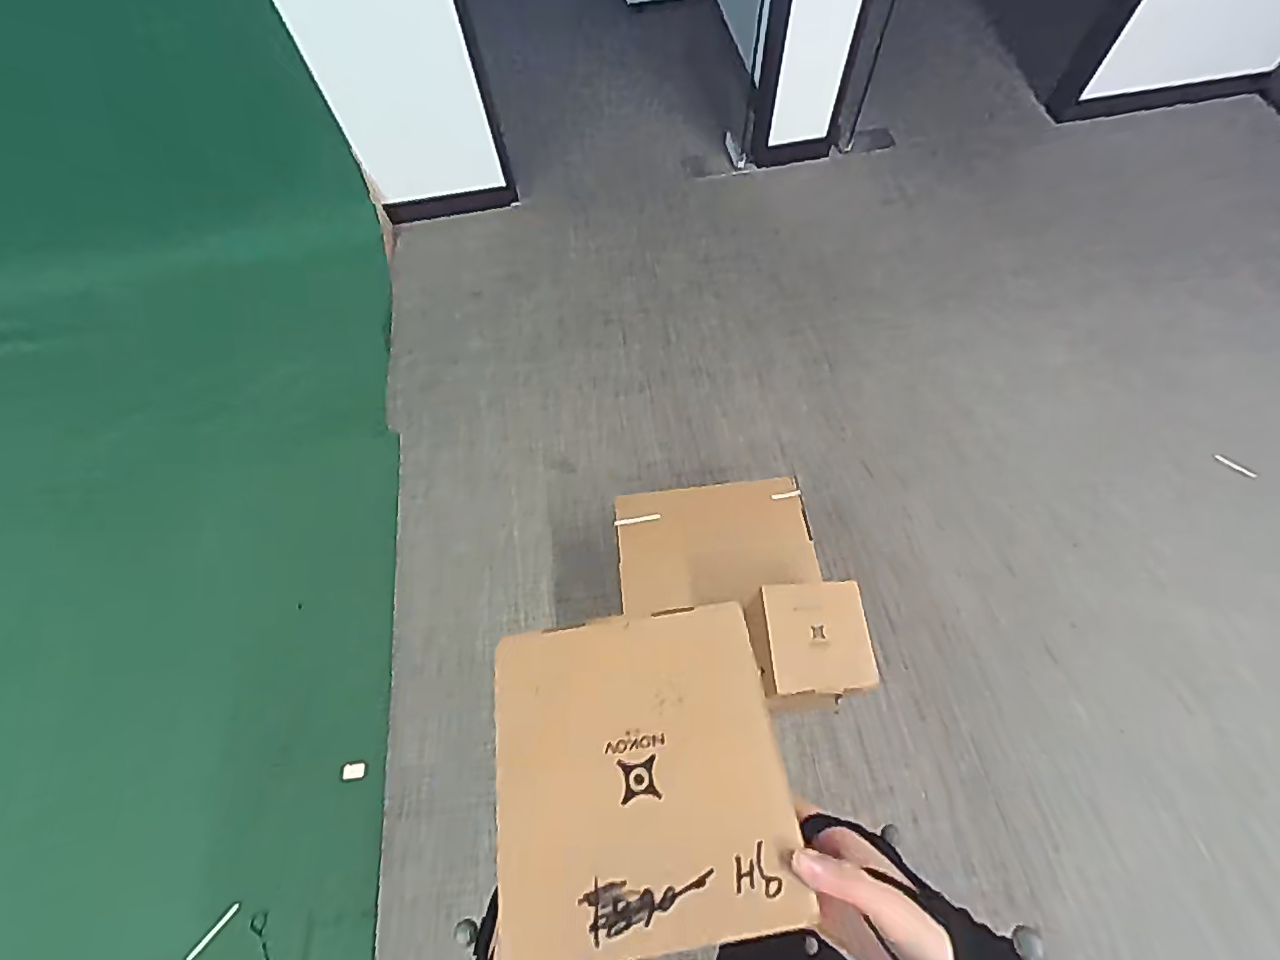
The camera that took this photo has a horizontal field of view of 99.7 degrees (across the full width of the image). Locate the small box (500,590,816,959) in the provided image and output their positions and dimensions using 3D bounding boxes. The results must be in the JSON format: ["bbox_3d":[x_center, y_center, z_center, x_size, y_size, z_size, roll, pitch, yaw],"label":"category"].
[{"bbox_3d":[0.001,0.200,0.387,0.168,0.176,0.179,-9,58,-3],"label":"small box"}]

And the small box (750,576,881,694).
[{"bbox_3d":[0.295,0.278,0.947,0.168,0.176,0.179,-3,63,0],"label":"small box"}]
